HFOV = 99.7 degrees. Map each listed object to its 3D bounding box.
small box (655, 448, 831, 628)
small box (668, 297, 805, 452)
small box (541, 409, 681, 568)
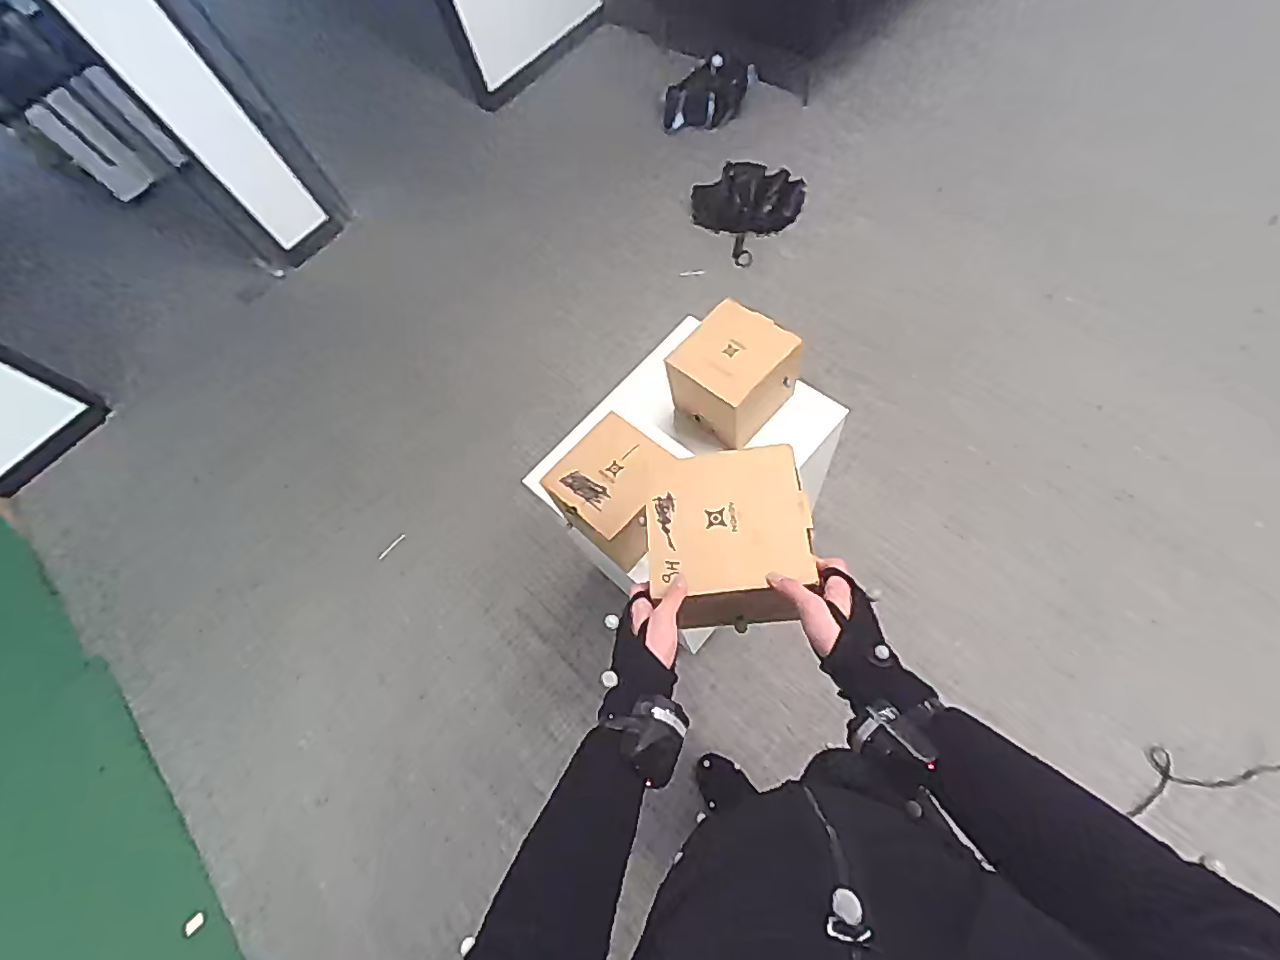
[{"bbox_3d":[0.118,0.079,0.654,0.179,0.176,0.168,-6,63,9],"label":"small box"},{"bbox_3d":[0.171,-0.187,0.983,0.168,0.176,0.179,40,78,23],"label":"small box"},{"bbox_3d":[-0.033,0.022,0.916,0.168,0.176,0.179,38,74,22],"label":"small box"}]
